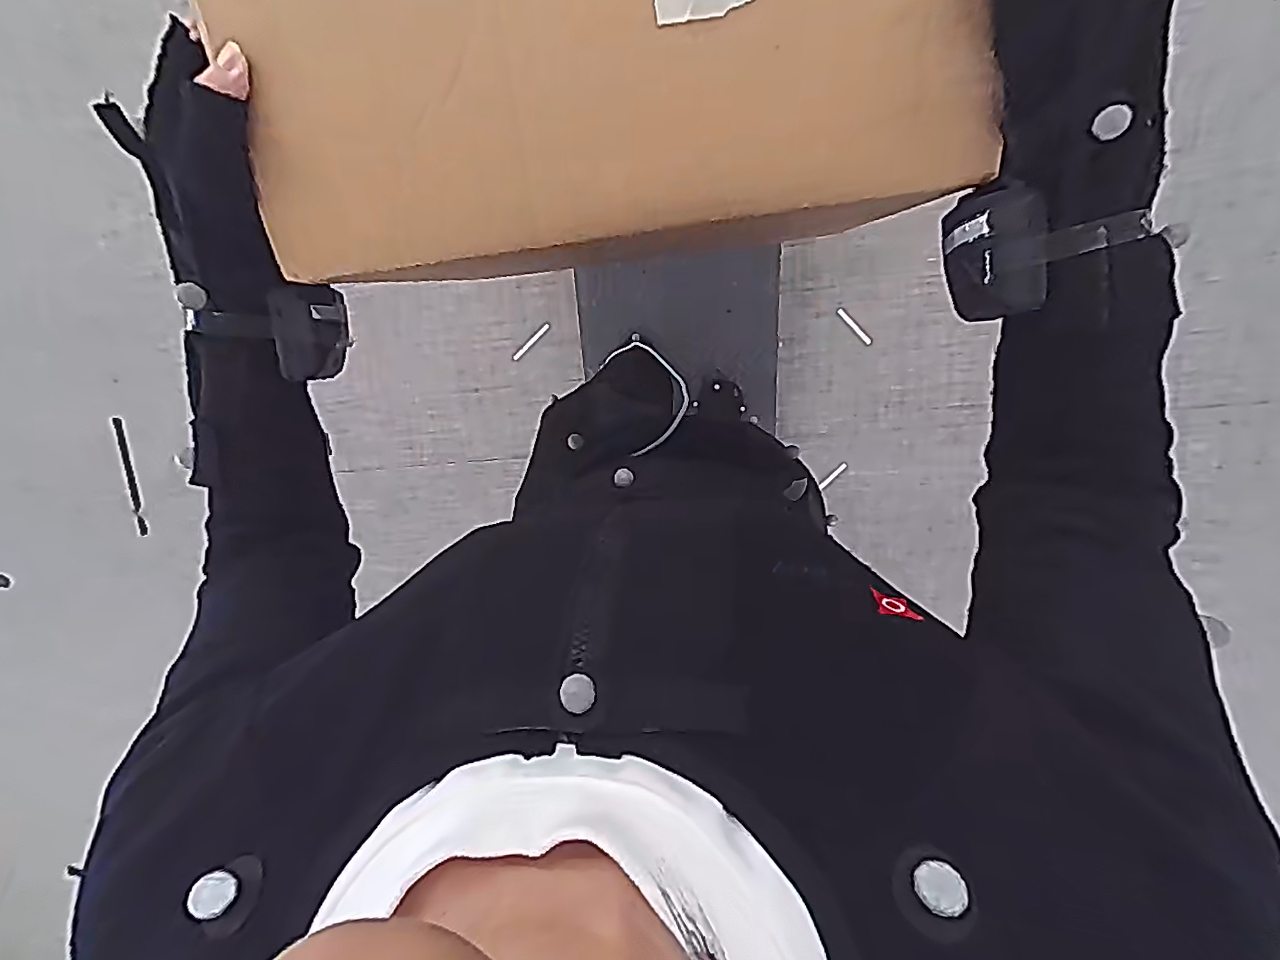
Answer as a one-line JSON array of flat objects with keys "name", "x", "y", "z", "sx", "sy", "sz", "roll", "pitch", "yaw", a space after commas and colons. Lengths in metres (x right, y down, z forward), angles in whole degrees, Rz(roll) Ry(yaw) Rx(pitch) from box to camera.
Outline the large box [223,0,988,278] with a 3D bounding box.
[{"name": "large box", "x": -0.021, "y": -0.344, "z": 0.405, "sx": 0.408, "sy": 0.320, "sz": 0.320, "roll": -5, "pitch": 110, "yaw": 8}]
